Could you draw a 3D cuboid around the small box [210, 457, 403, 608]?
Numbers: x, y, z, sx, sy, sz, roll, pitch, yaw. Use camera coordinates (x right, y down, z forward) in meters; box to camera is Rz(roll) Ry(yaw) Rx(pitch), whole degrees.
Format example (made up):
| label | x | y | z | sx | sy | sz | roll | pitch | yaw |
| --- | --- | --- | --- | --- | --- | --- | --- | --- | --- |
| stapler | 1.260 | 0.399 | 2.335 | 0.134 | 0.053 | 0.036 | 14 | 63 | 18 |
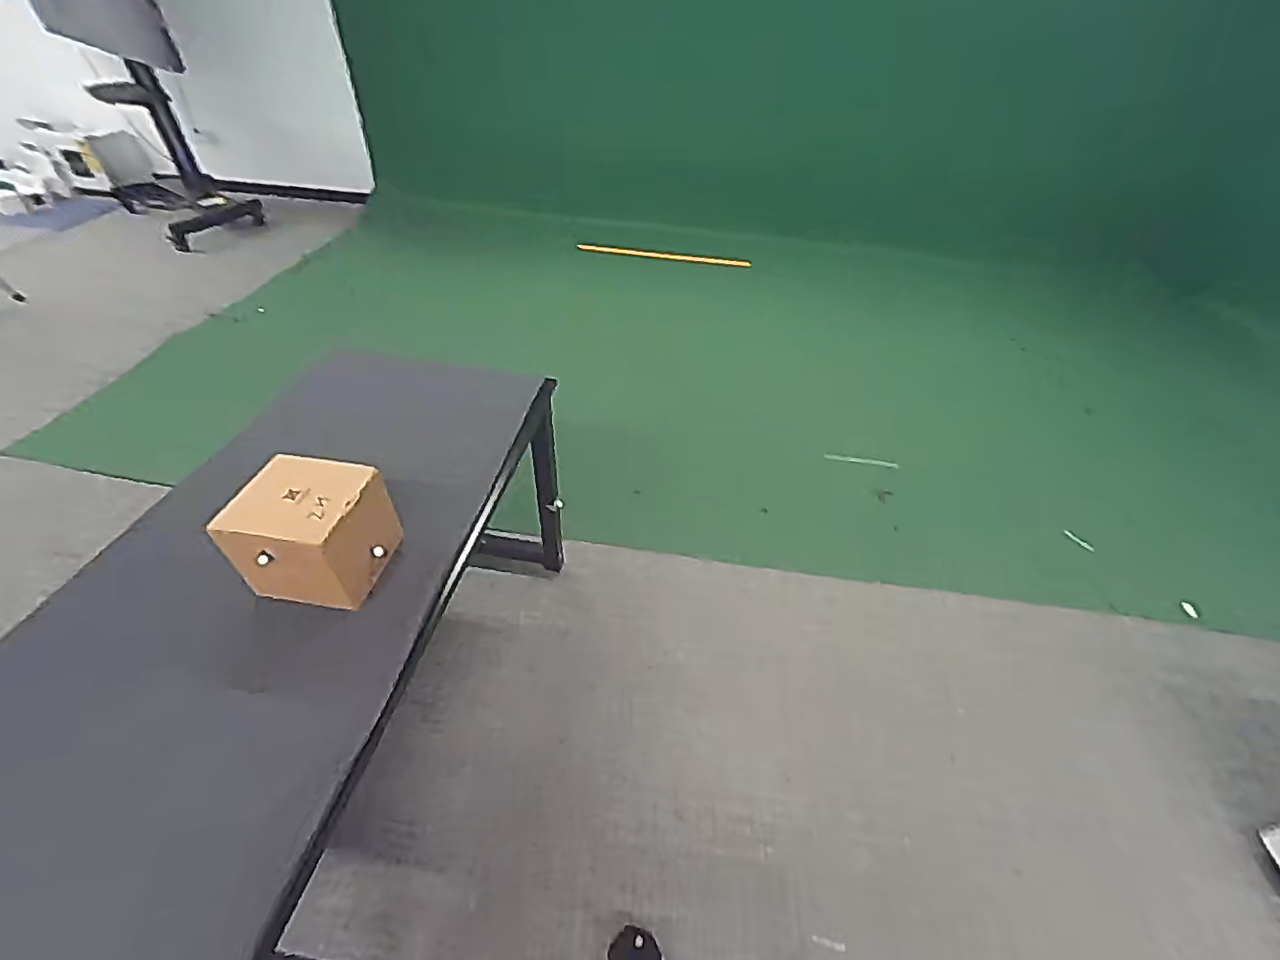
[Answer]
| label | x | y | z | sx | sy | sz | roll | pitch | yaw |
| --- | --- | --- | --- | --- | --- | --- | --- | --- | --- |
| small box | -0.516 | 0.086 | 0.868 | 0.179 | 0.176 | 0.168 | 8 | 44 | 5 |
